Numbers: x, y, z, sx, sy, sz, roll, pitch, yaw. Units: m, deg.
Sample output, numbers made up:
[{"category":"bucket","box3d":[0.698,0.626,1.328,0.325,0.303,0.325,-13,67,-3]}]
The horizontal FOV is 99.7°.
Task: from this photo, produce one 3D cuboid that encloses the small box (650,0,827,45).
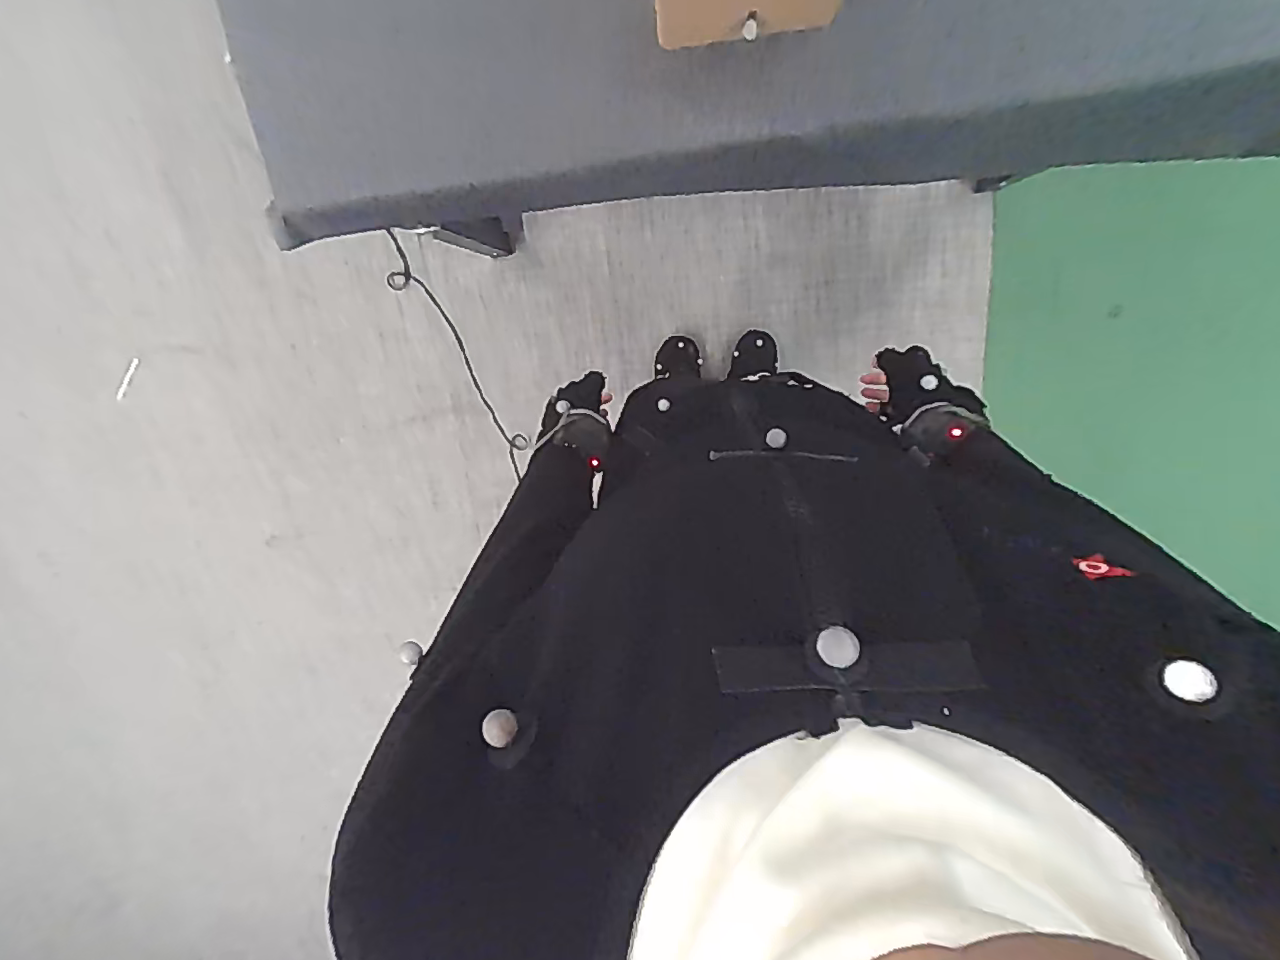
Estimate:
[{"category":"small box","box3d":[0.090,-0.511,0.457,0.179,0.176,0.168,-5,106,5]}]
